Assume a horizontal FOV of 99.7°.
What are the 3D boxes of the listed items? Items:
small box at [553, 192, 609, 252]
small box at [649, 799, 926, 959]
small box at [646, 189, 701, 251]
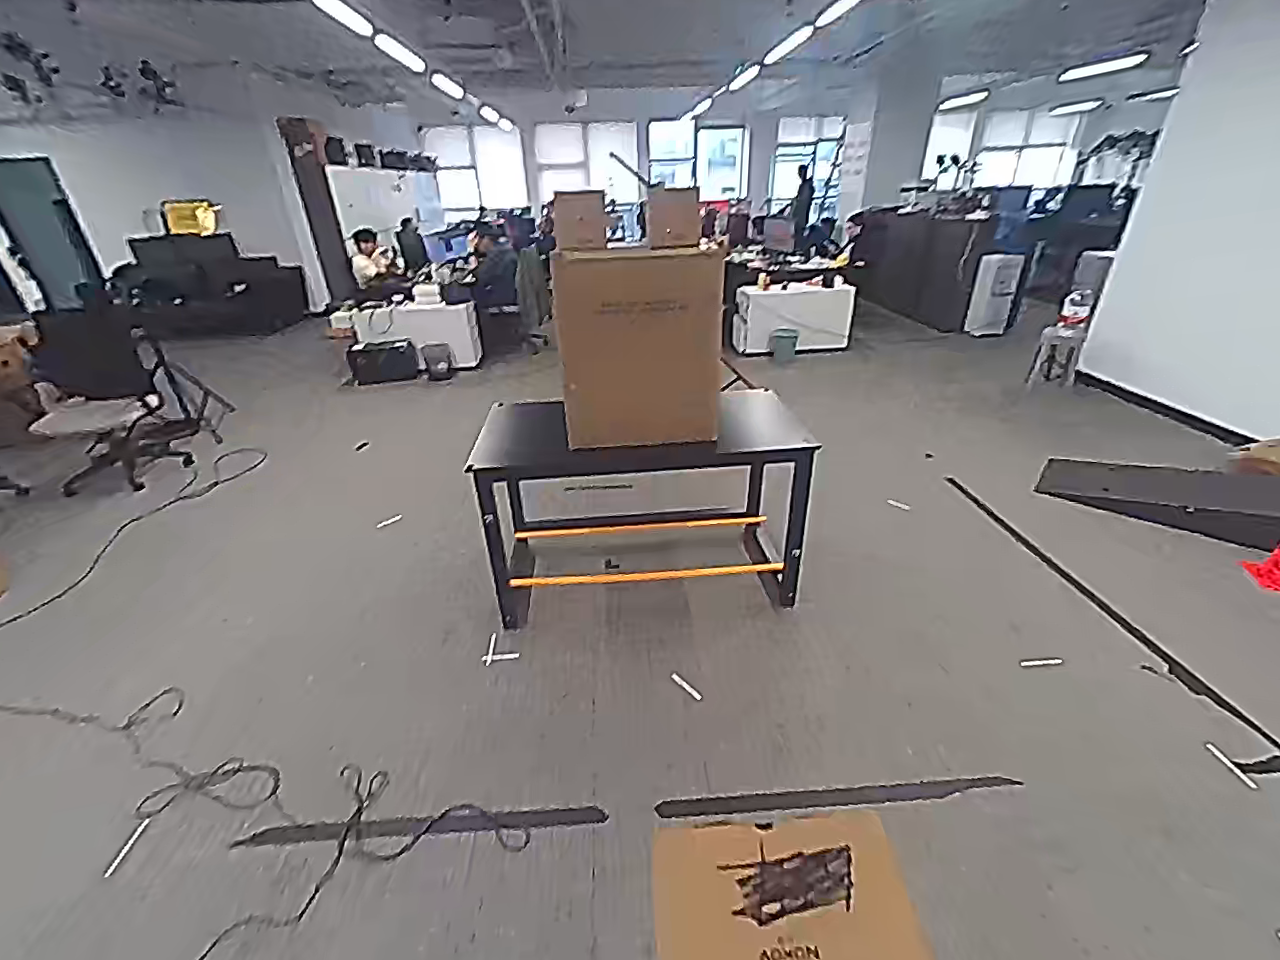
[{"bbox_3d":[-0.190,-0.846,1.775,0.168,0.176,0.179,-2,28,-4],"label":"small box"},{"bbox_3d":[0.097,0.357,0.373,0.168,0.176,0.179,-7,34,1],"label":"small box"},{"bbox_3d":[0.107,-0.843,1.755,0.168,0.176,0.179,-4,28,0],"label":"small box"}]
